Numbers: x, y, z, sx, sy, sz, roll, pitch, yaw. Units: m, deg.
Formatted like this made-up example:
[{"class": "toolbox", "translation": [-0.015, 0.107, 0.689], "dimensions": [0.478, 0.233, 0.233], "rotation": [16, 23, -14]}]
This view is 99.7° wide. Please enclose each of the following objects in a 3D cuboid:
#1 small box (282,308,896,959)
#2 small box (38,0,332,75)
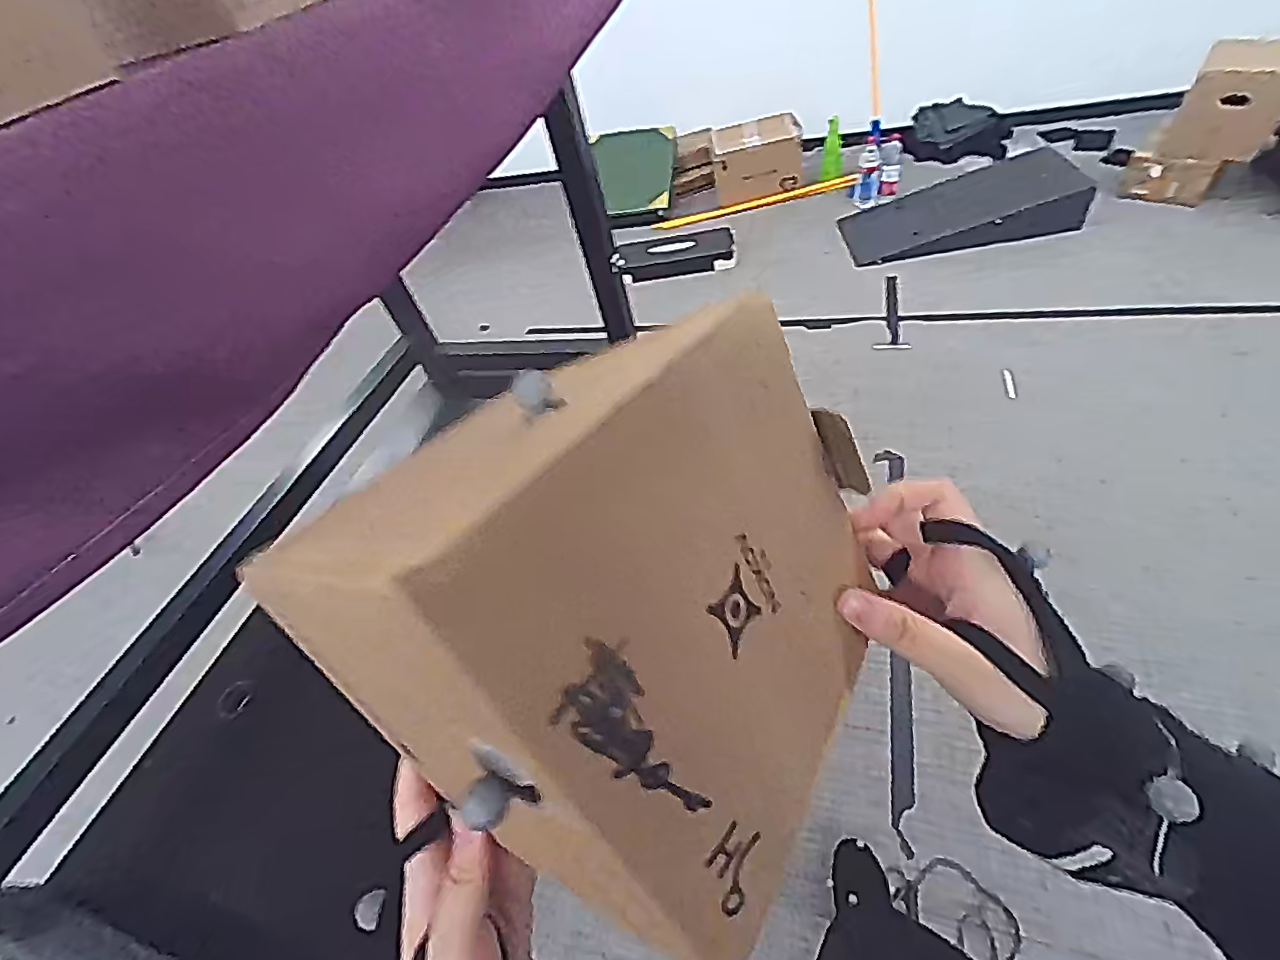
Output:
[{"class": "small box", "translation": [-0.013, 0.051, 0.242], "dimensions": [0.176, 0.168, 0.179], "rotation": [-11, 25, 44]}, {"class": "small box", "translation": [-0.374, -0.447, 0.415], "dimensions": [0.179, 0.176, 0.168], "rotation": [4, 51, 20]}]
